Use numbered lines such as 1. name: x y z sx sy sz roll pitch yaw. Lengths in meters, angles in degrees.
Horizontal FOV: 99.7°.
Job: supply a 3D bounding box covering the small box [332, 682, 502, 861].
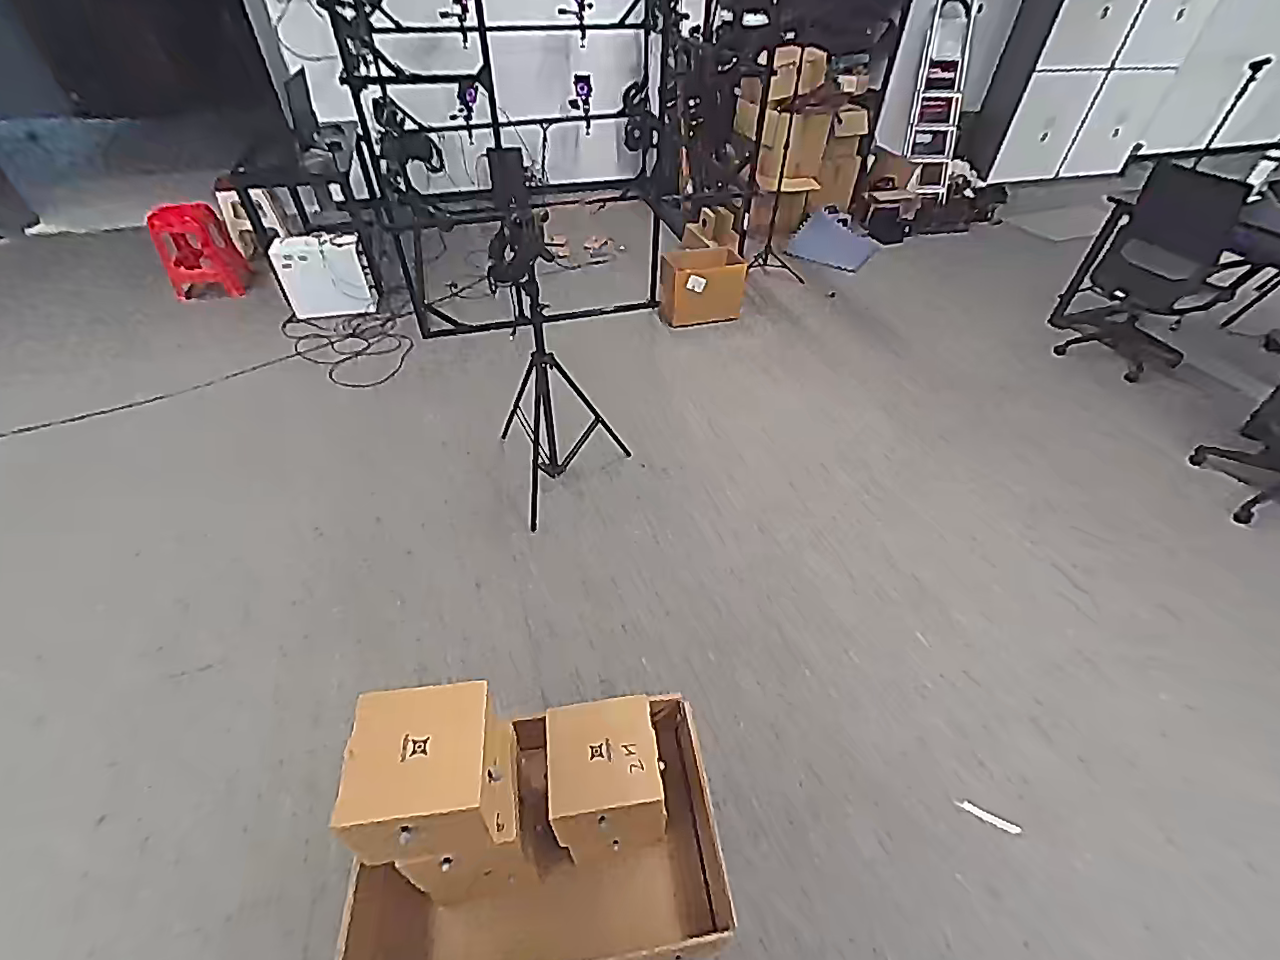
1. small box: -0.290 0.405 0.752 0.179 0.176 0.168 -4 44 -8
